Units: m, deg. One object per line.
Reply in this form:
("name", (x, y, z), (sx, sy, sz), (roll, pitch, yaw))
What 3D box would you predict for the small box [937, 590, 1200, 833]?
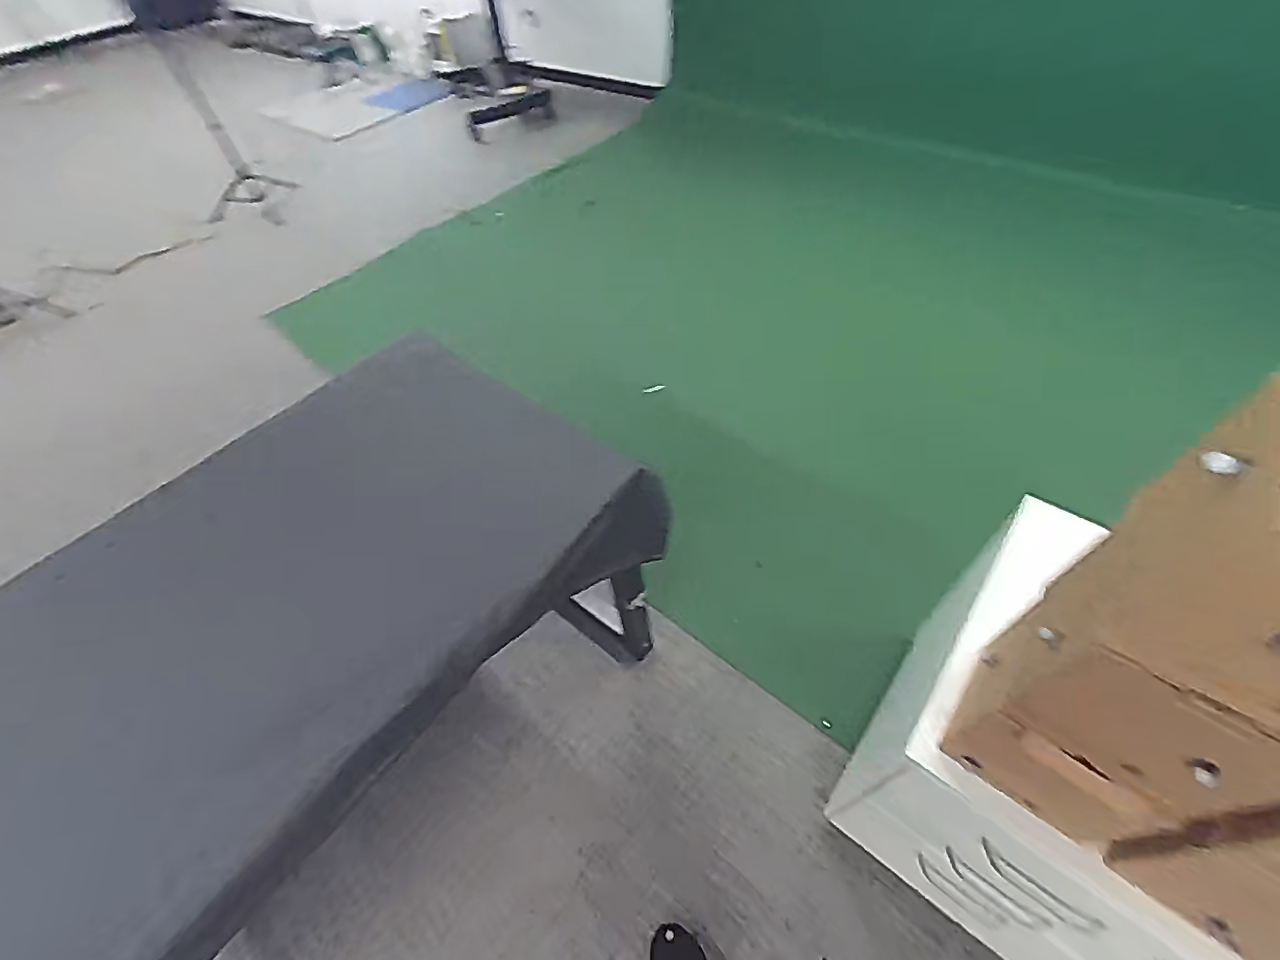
("small box", (0.476, 0.270, 0.627), (0.168, 0.176, 0.179), (32, 59, 25))
